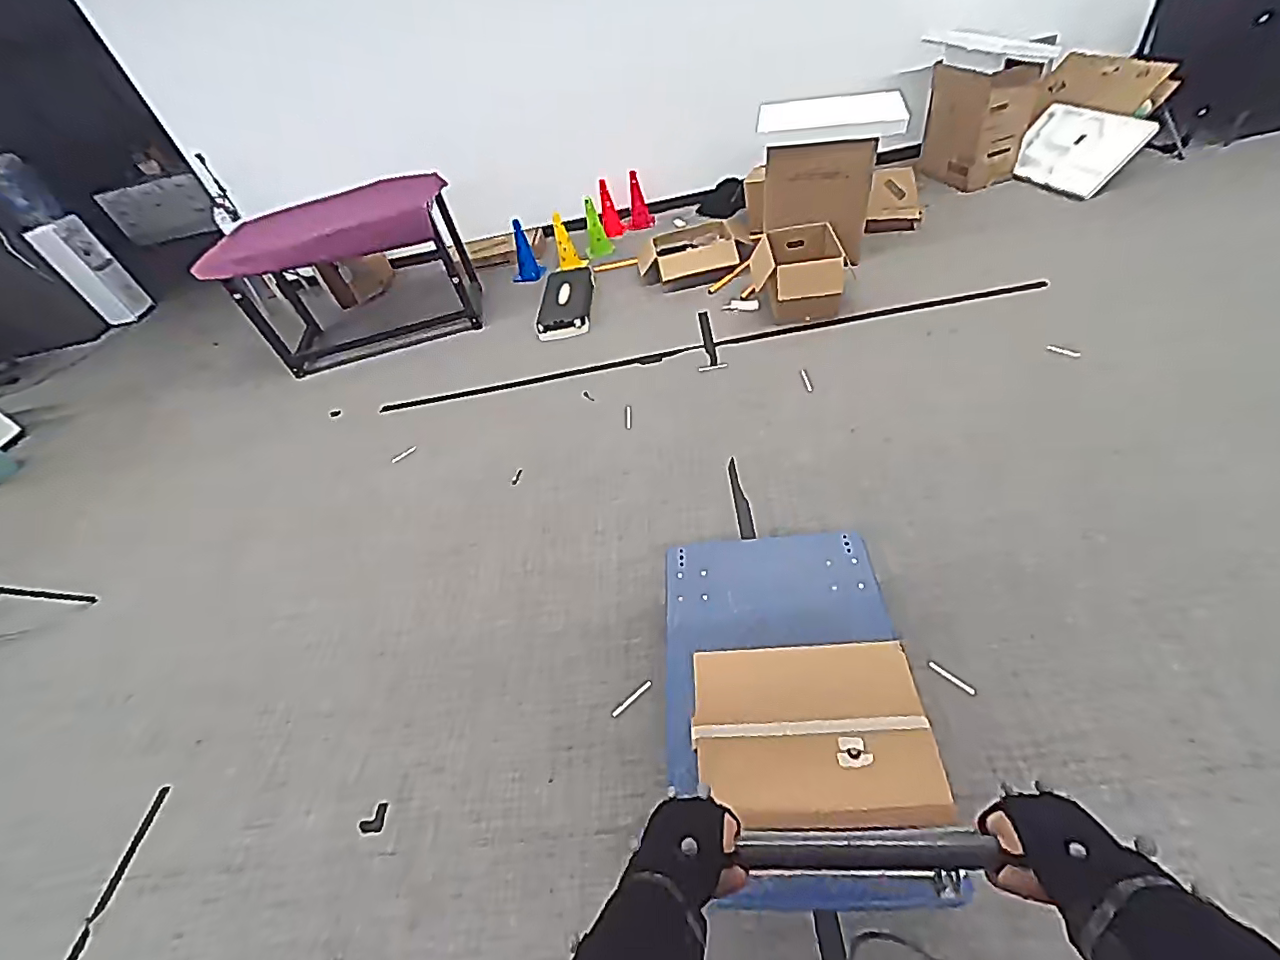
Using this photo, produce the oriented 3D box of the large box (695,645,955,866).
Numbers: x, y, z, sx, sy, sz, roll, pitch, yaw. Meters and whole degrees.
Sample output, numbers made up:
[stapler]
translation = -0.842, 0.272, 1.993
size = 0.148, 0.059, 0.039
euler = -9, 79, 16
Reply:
[large box]
translation = 0.331, 0.558, 1.086
size = 0.408, 0.320, 0.320
euler = -6, 46, 8
